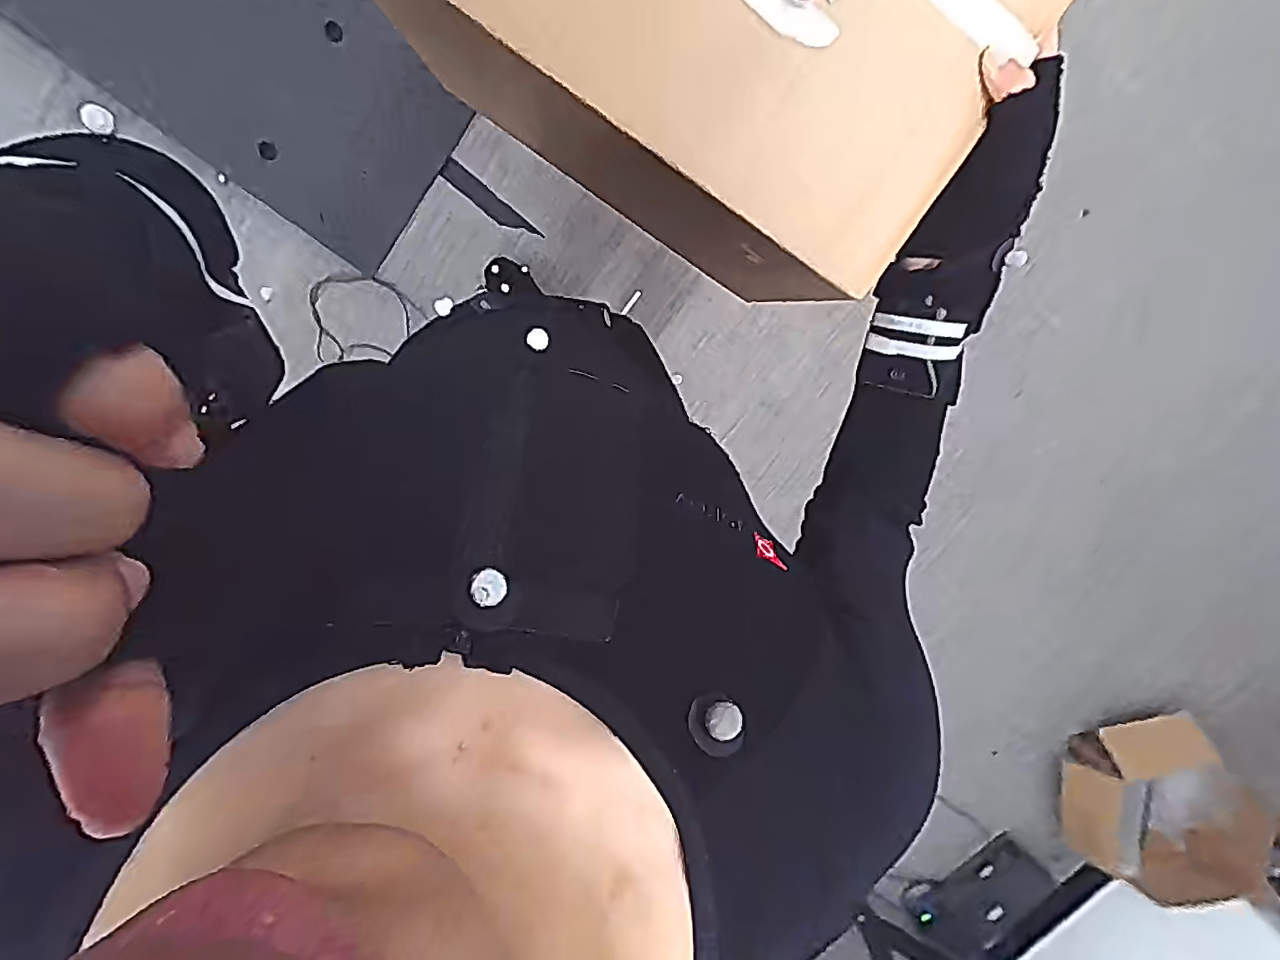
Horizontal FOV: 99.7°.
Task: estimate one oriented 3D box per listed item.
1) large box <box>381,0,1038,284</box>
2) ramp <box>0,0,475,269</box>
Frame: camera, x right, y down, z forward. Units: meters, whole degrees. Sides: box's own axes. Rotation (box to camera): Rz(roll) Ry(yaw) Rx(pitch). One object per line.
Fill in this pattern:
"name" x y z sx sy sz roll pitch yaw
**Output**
"large box" 0.044 -0.404 0.436 0.408 0.320 0.320 29 105 -12
"ramp" -0.883 -0.958 1.095 0.991 0.206 0.509 35 101 -12
